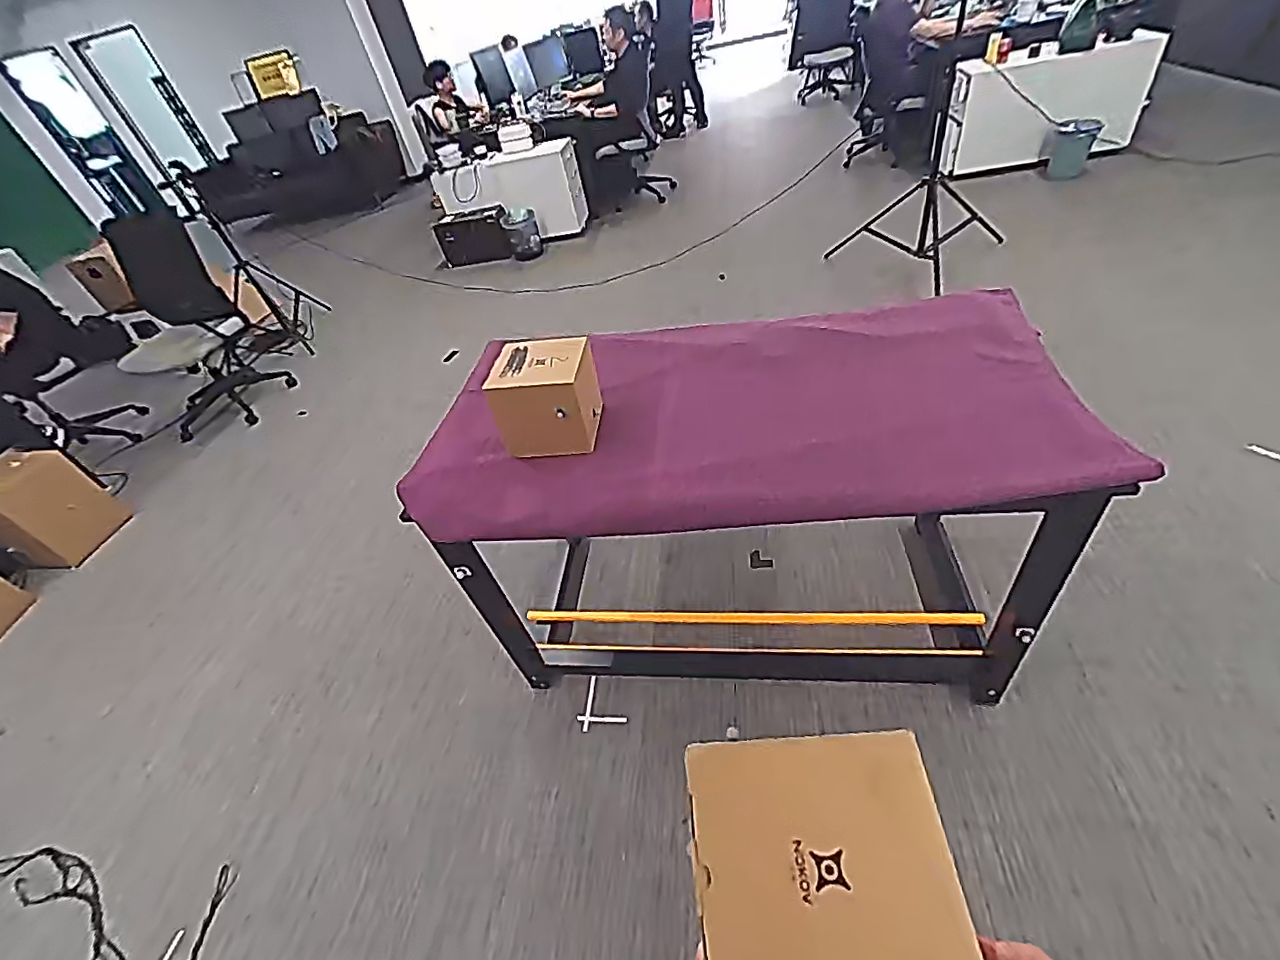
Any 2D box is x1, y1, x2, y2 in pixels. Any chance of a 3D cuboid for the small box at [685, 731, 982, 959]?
[{"bbox_3d":[0.134,0.307,0.434,0.179,0.176,0.168,-8,56,5],"label":"small box"}]
